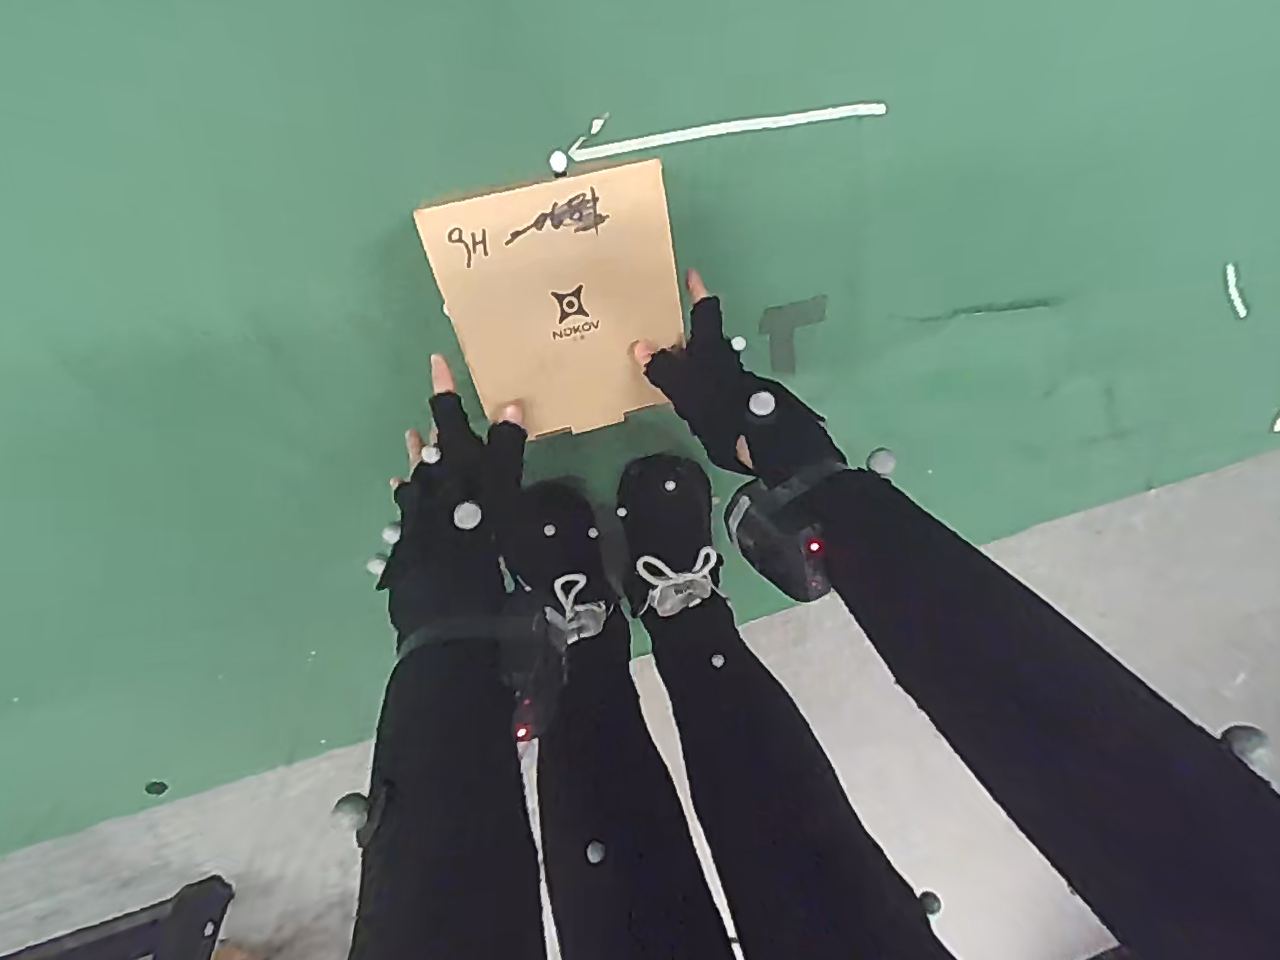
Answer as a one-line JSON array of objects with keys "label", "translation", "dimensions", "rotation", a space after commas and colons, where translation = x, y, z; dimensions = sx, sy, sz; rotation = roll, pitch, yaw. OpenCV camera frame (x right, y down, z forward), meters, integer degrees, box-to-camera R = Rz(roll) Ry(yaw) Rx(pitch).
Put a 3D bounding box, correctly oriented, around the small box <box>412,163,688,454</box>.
[{"label": "small box", "translation": [-0.069, -0.151, 0.452], "dimensions": [0.168, 0.176, 0.179], "rotation": [-16, 124, -7]}]
